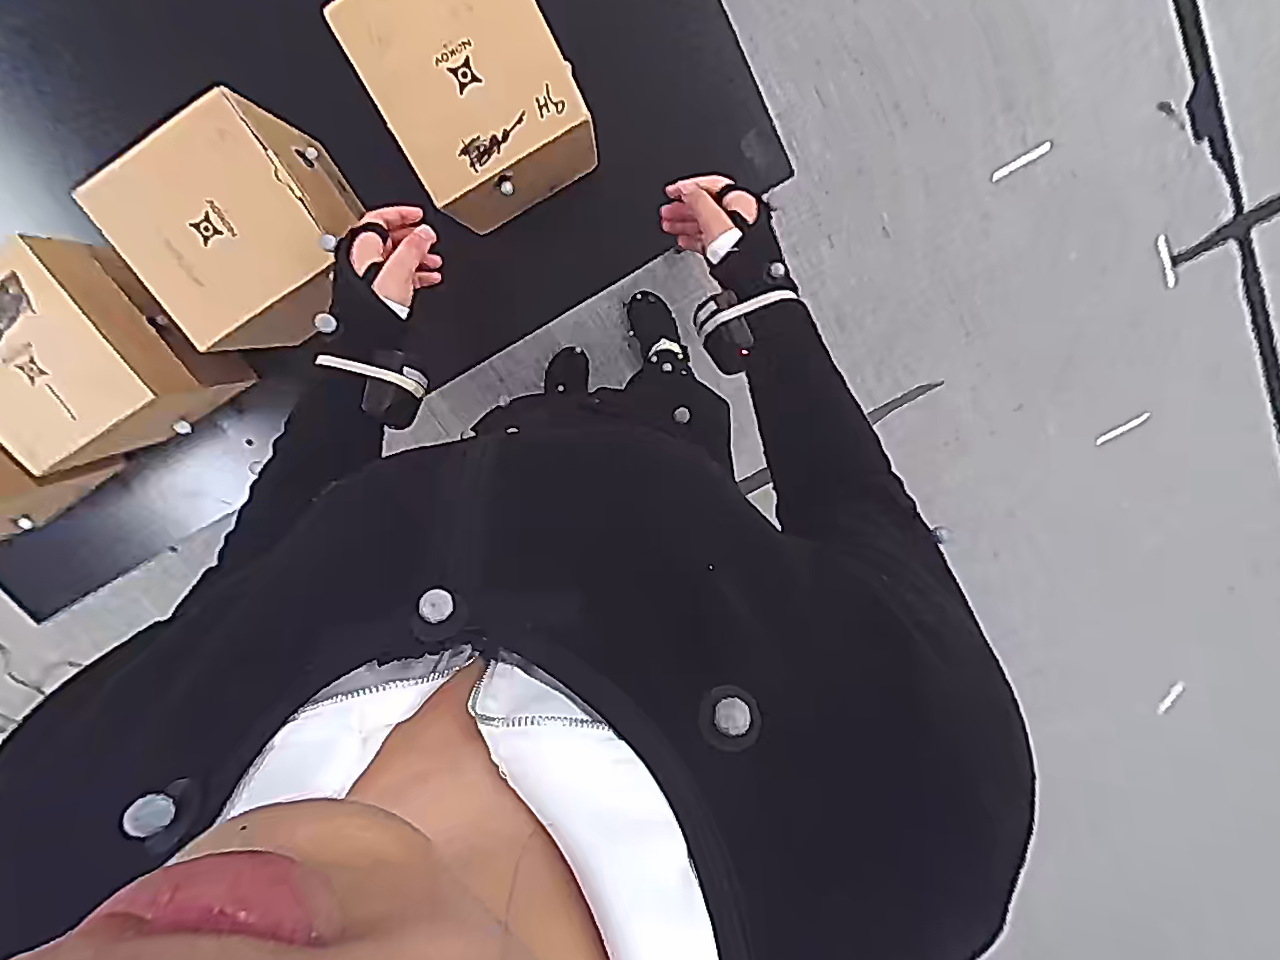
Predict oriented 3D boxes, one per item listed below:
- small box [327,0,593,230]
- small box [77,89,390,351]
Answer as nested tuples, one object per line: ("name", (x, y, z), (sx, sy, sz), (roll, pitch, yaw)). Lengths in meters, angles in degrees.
("small box", (-0.160, -0.384, 0.548), (0.168, 0.176, 0.179), (-28, 105, 6))
("small box", (-0.399, -0.258, 0.577), (0.179, 0.176, 0.168), (-30, 105, 7))
